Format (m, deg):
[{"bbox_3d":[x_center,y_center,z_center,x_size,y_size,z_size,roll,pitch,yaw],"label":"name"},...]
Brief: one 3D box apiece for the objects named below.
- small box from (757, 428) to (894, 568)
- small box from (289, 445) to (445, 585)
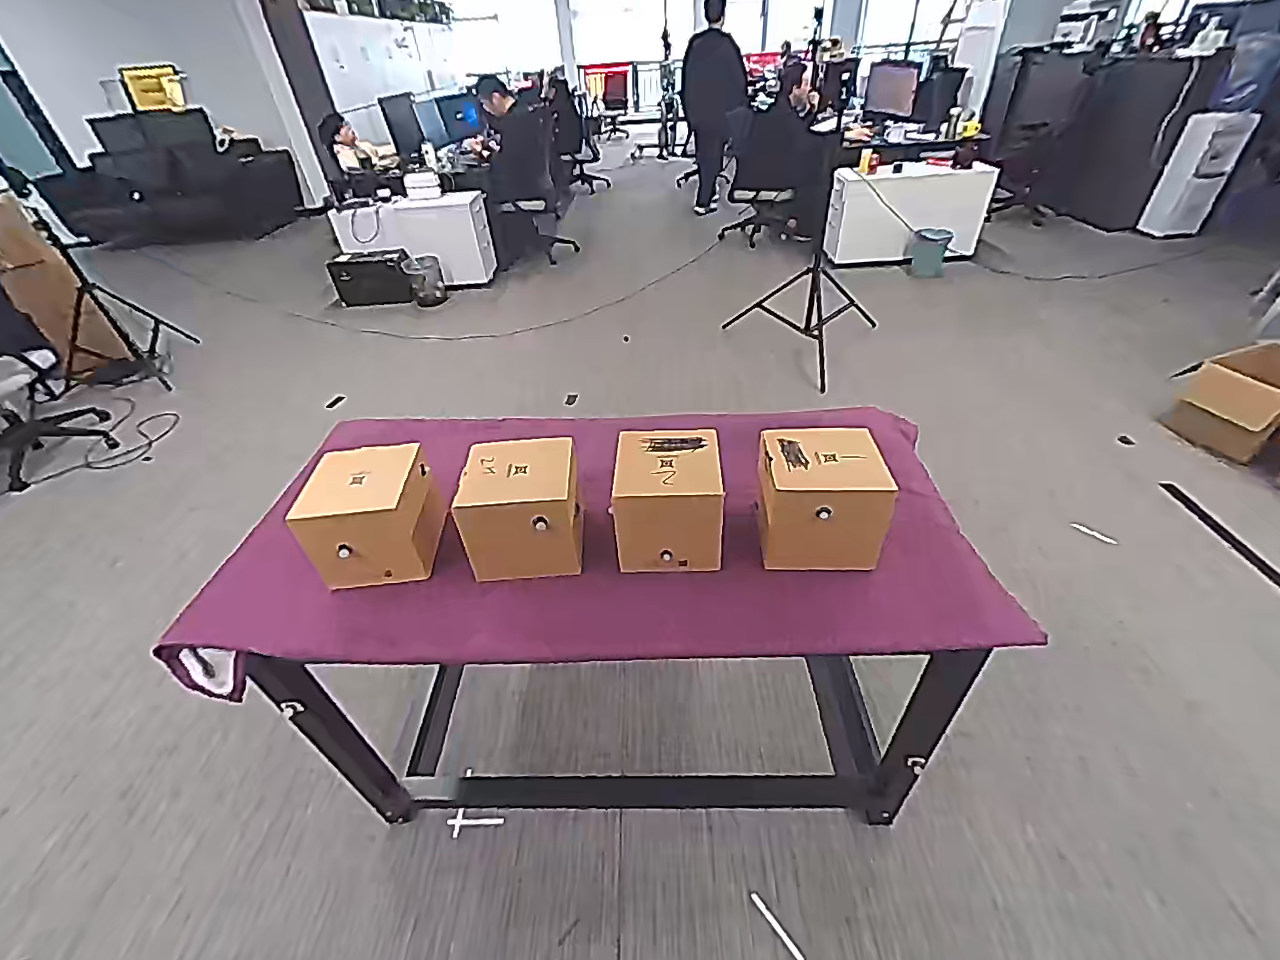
[{"bbox_3d":[0.288,0.029,0.888,0.179,0.176,0.168,0,38,5],"label":"small box"},{"bbox_3d":[-0.447,0.064,0.924,0.168,0.176,0.179,-6,38,-3],"label":"small box"}]
